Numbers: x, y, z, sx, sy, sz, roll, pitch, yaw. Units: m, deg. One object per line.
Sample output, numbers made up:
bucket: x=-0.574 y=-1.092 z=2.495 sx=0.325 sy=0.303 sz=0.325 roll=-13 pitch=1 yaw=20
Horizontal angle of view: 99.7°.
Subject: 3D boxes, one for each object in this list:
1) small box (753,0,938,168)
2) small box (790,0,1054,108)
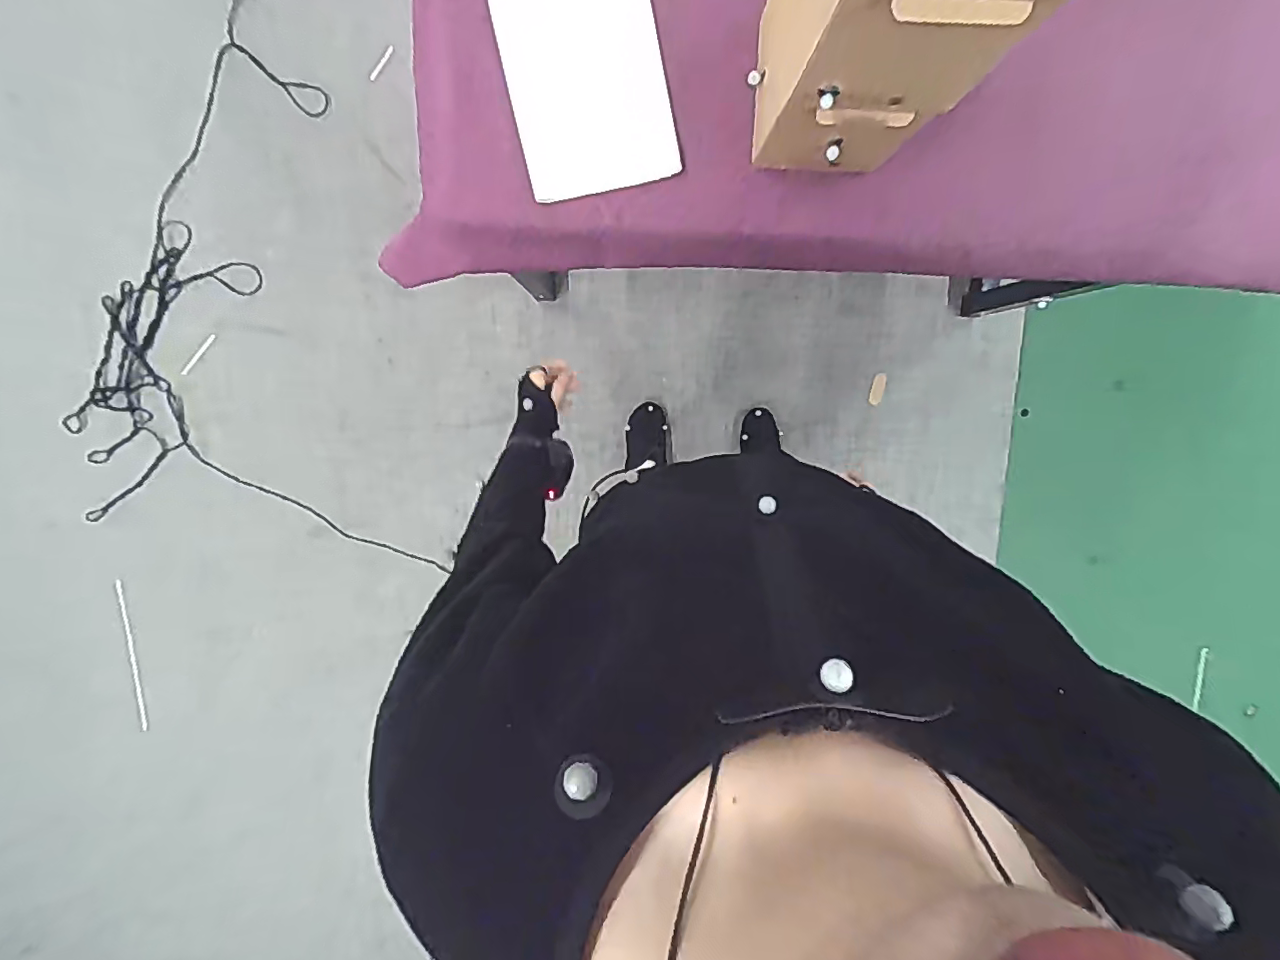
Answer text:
small box: x=0.231 y=-0.482 z=0.619 sx=0.168 sy=0.176 sz=0.179 roll=2 pitch=99 yaw=-1
small box: x=0.233 y=-0.450 z=0.457 sx=0.168 sy=0.176 sz=0.179 roll=2 pitch=98 yaw=-1
